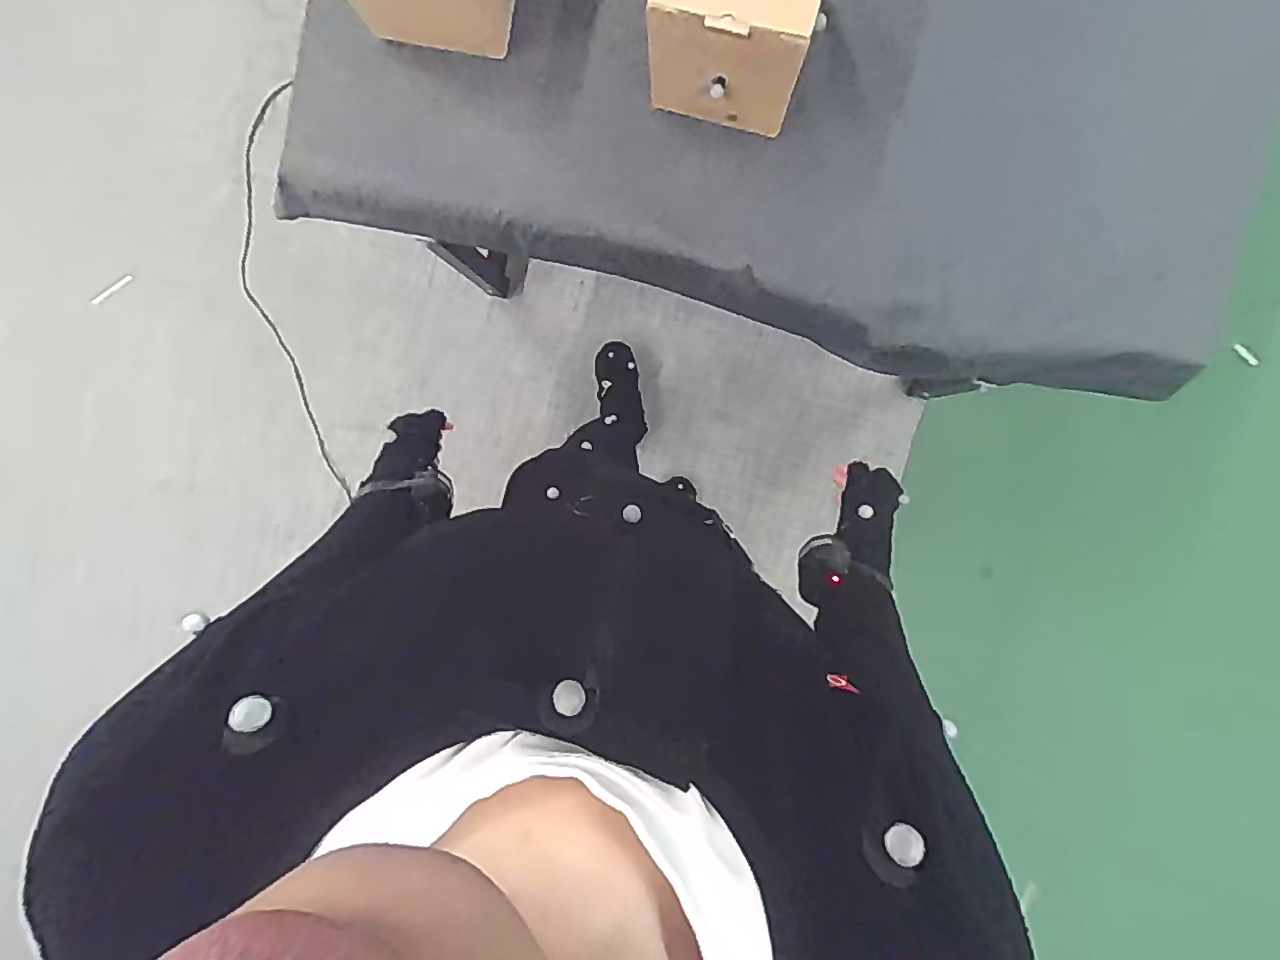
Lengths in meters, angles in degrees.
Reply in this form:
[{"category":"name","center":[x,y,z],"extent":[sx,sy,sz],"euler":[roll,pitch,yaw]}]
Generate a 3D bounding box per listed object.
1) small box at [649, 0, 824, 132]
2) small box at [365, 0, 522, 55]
[{"category":"small box","center":[0.117,-0.530,0.599],"extent":[0.168,0.176,0.179],"euler":[16,95,3]},{"category":"small box","center":[-0.239,-0.632,0.616],"extent":[0.179,0.176,0.168],"euler":[11,95,2]}]
